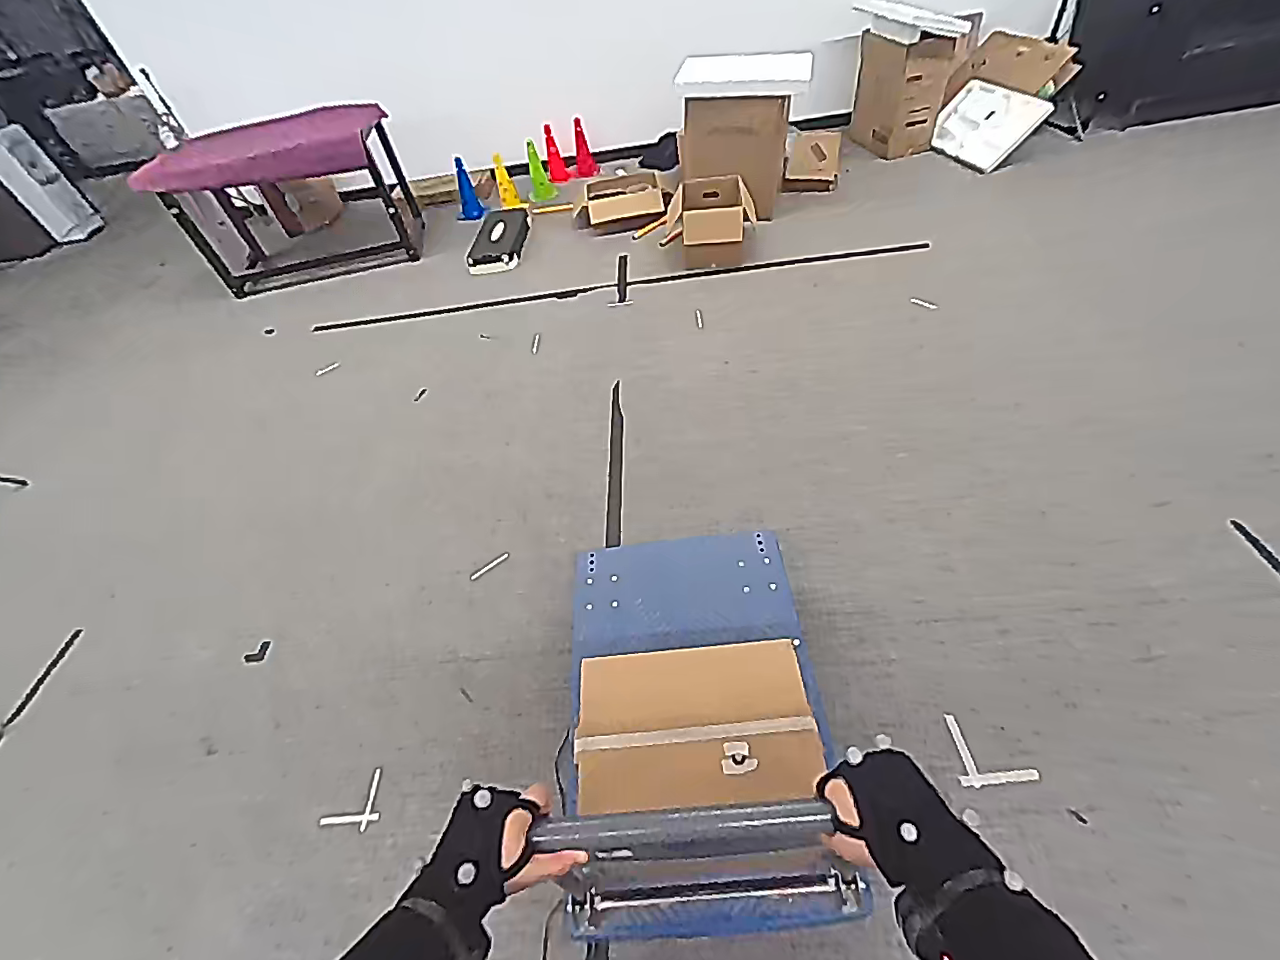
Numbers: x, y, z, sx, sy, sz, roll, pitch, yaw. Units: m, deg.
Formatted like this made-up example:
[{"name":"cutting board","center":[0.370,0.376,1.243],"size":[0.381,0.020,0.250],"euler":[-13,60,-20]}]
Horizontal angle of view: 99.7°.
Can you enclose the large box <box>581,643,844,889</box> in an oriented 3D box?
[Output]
[{"name":"large box","center":[0.112,0.539,1.014],"size":[0.408,0.320,0.320],"euler":[-7,47,2]}]
